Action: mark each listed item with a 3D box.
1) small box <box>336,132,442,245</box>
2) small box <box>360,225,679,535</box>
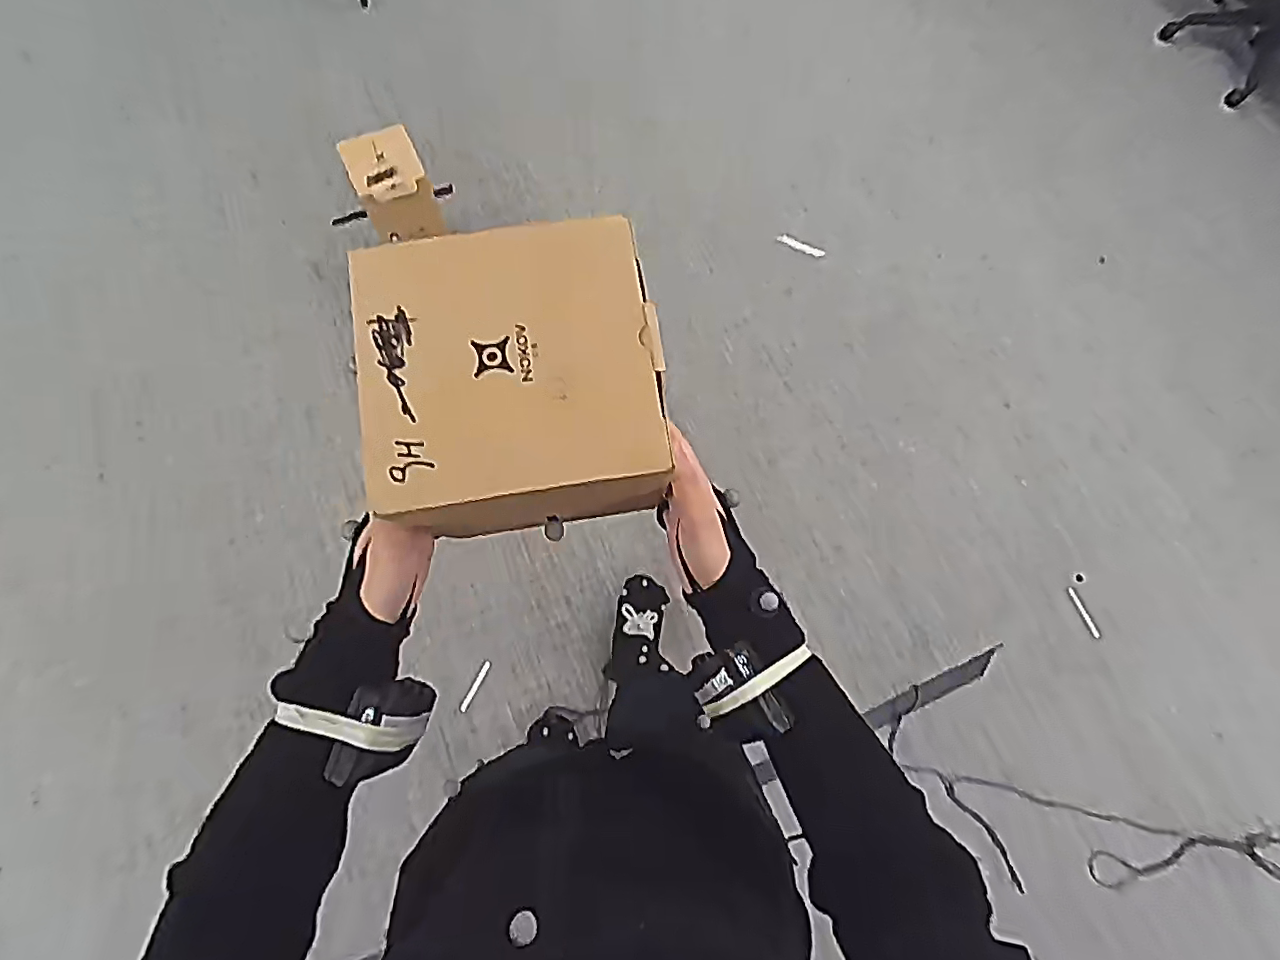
[{"bbox_3d":[-0.621,-0.720,1.360,0.168,0.176,0.179,-25,77,-12],"label":"small box"},{"bbox_3d":[-0.079,-0.057,0.401,0.179,0.176,0.168,-8,79,-5],"label":"small box"}]
